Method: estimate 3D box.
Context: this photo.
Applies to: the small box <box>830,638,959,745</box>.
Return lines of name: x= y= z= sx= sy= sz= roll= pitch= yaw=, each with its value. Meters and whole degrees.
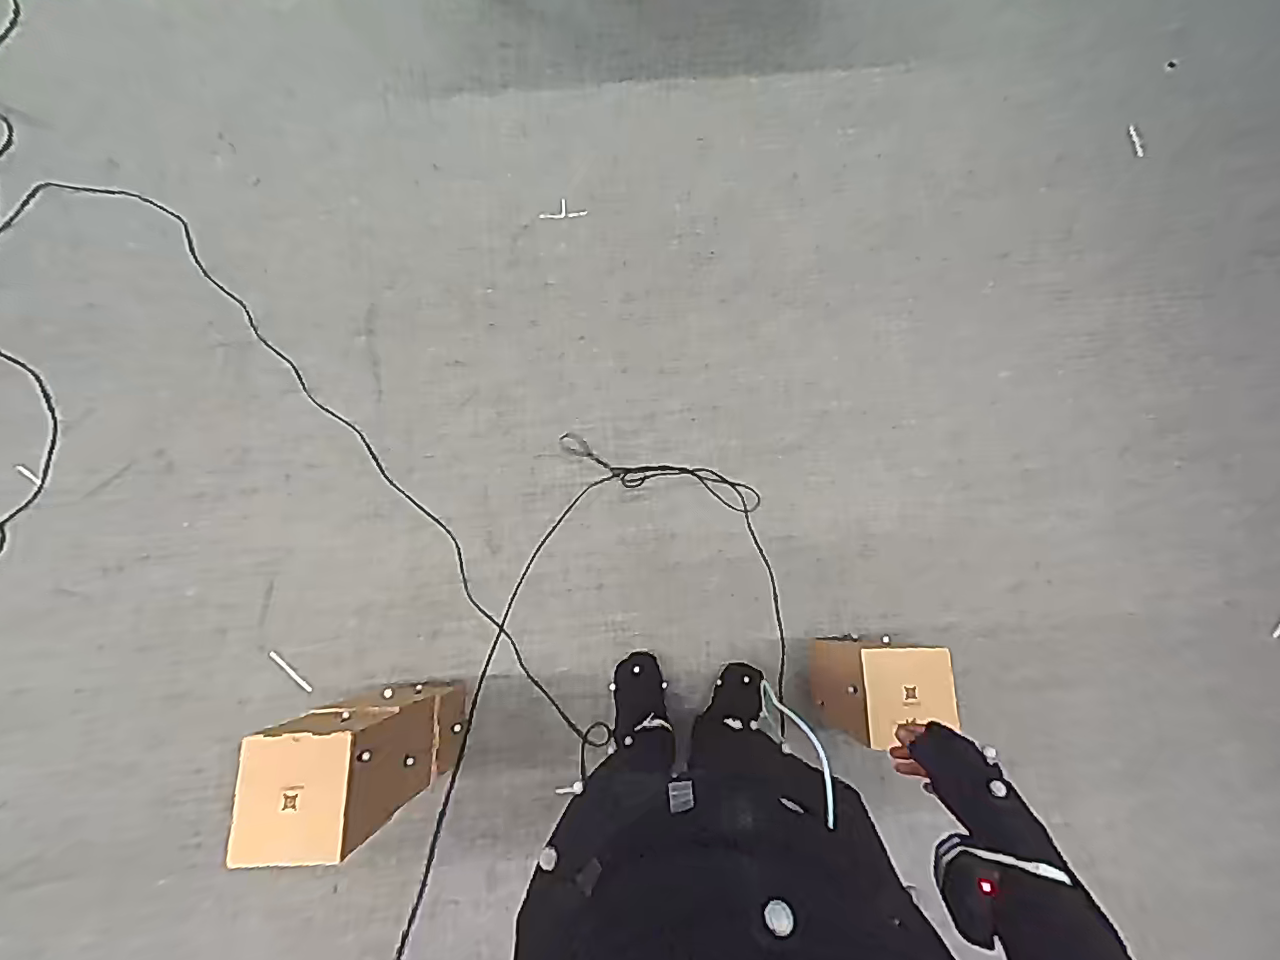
small box: x=0.485 y=0.404 z=1.058 sx=0.168 sy=0.176 sz=0.179 roll=0 pitch=78 yaw=-1

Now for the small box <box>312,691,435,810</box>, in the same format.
small box: x=-0.502 y=0.508 z=1.026 sx=0.168 sy=0.176 sz=0.179 roll=-2 pitch=76 yaw=0

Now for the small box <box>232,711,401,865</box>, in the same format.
small box: x=-0.502 y=0.480 z=0.866 sx=0.168 sy=0.176 sz=0.179 roll=-2 pitch=76 yaw=0

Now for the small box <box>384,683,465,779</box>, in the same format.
small box: x=-0.494 y=0.545 z=1.186 sx=0.179 sy=0.176 sz=0.168 roll=-2 pitch=77 yaw=-1

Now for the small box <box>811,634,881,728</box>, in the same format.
small box: x=0.487 y=0.442 z=1.201 sx=0.168 sy=0.176 sz=0.179 roll=1 pitch=77 yaw=0
